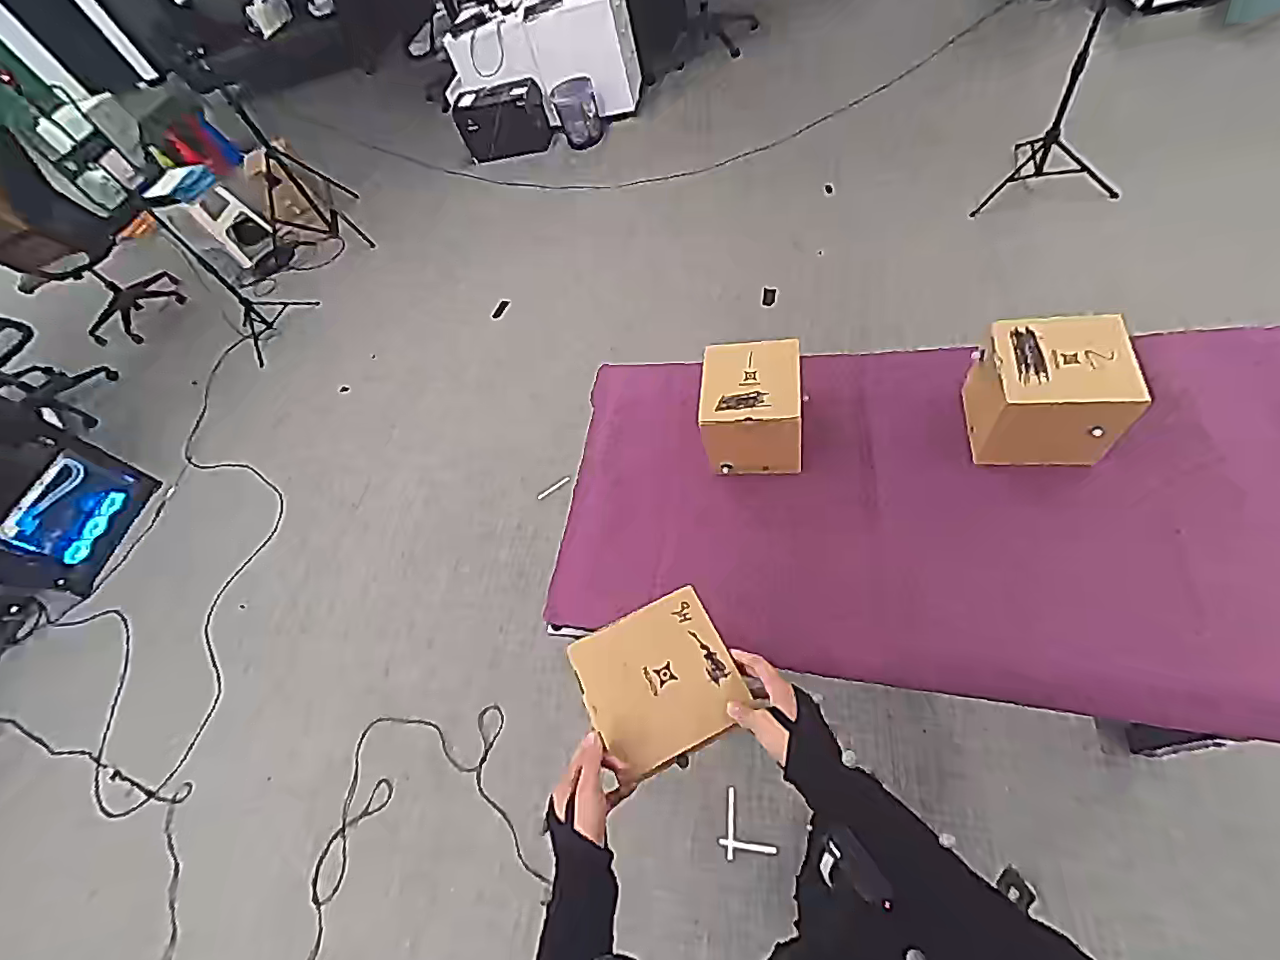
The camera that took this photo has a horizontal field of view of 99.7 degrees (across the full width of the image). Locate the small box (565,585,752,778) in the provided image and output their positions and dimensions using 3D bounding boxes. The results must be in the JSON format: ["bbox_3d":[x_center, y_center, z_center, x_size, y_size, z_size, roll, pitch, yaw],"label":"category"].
[{"bbox_3d":[0.027,0.267,0.702,0.179,0.176,0.168,-25,61,-7],"label":"small box"}]

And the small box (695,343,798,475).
[{"bbox_3d":[0.199,-0.120,0.979,0.168,0.176,0.179,-1,59,15],"label":"small box"}]
